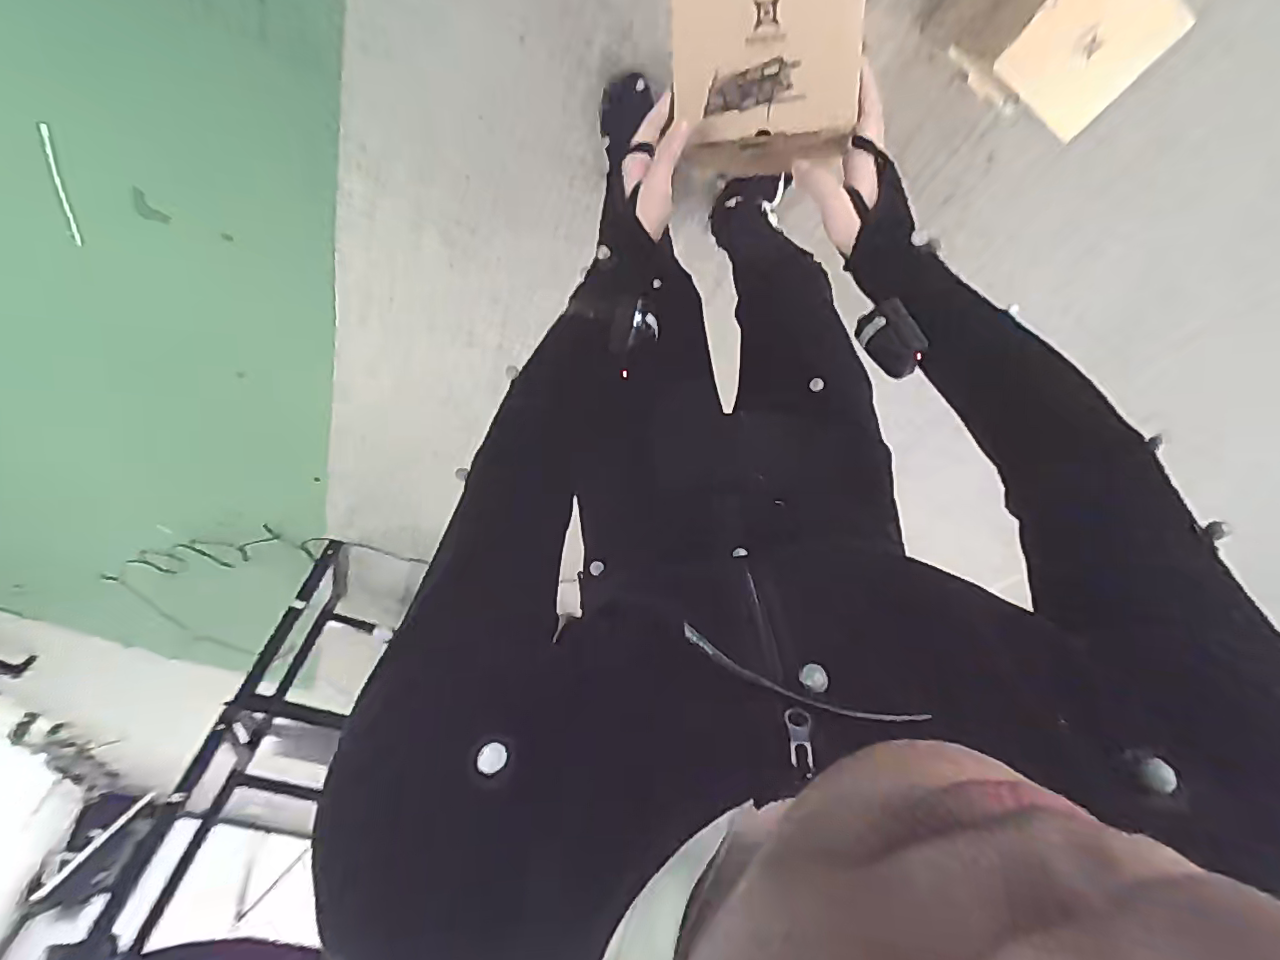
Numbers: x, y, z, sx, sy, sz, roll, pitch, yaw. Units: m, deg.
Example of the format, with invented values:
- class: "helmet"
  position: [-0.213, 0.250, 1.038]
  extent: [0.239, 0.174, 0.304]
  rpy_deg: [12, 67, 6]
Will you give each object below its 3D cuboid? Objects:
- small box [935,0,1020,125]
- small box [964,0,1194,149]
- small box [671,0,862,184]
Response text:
- class: "small box"
  position: [0.620, -0.744, 0.895]
  extent: [0.168, 0.176, 0.179]
  rpy_deg: [27, 134, -19]
- class: "small box"
  position: [0.615, -0.628, 0.779]
  extent: [0.179, 0.176, 0.168]
  rpy_deg: [27, 133, -17]
- class: "small box"
  position: [0.129, -0.414, 0.551]
  extent: [0.168, 0.176, 0.179]
  rpy_deg: [1, 109, 14]
